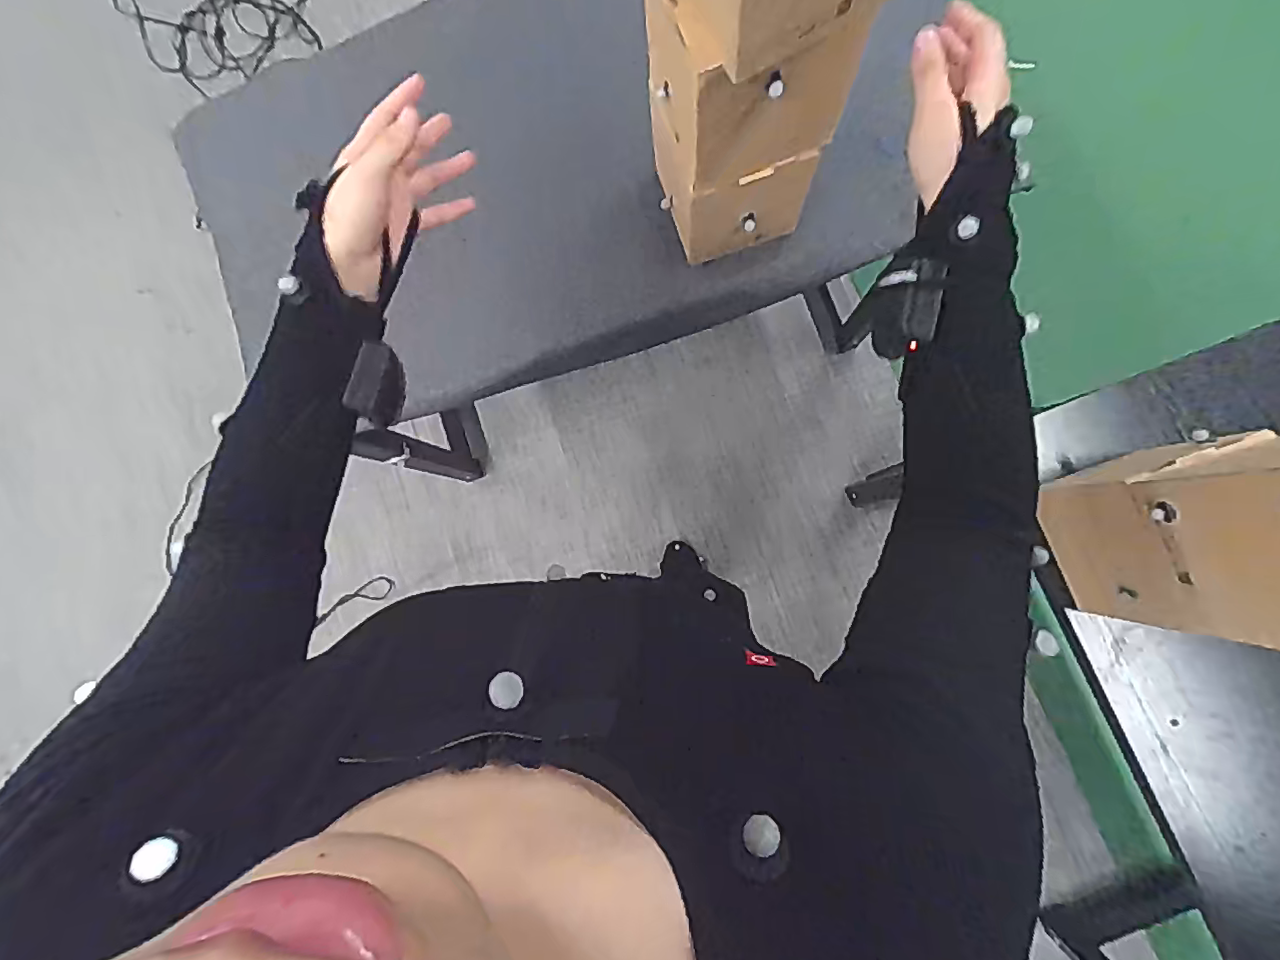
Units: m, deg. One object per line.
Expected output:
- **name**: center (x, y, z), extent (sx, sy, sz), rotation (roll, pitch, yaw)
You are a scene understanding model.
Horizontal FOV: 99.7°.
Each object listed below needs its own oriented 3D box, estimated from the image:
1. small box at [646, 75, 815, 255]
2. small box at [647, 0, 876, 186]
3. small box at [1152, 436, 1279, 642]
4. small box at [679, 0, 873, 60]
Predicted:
- **small box**: center (0.117, -0.434, 0.734), extent (0.168, 0.176, 0.179), rotation (-18, 82, 4)
- **small box**: center (0.111, -0.458, 0.572), extent (0.179, 0.176, 0.168), rotation (-20, 81, 4)
- **small box**: center (0.618, 0.046, 0.478), extent (0.179, 0.176, 0.168), rotation (-18, 84, 2)
- **small box**: center (0.104, -0.471, 0.408), extent (0.168, 0.176, 0.179), rotation (-28, 81, 2)
